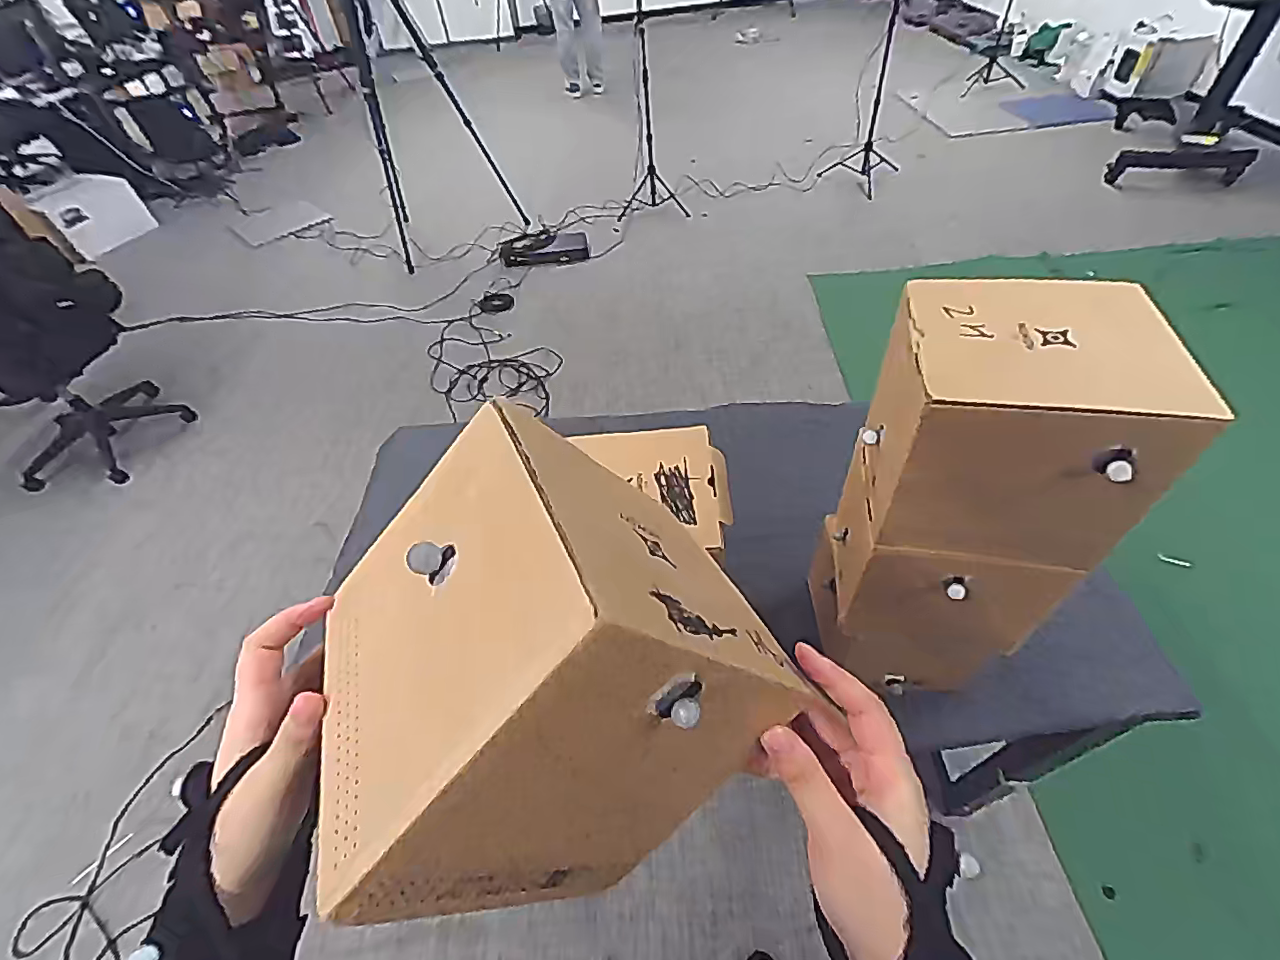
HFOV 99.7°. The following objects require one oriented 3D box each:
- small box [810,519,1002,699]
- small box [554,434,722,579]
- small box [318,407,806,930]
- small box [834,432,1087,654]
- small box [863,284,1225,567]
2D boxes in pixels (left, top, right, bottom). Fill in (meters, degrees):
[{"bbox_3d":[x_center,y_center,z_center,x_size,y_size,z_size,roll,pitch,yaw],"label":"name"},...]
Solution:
[{"bbox_3d":[0.328,0.166,0.705,0.168,0.176,0.179,-4,48,5],"label":"small box"},{"bbox_3d":[-0.005,0.067,0.611,0.179,0.176,0.168,-4,47,4],"label":"small box"},{"bbox_3d":[-0.053,0.096,0.302,0.176,0.168,0.179,-49,41,9],"label":"small box"},{"bbox_3d":[0.312,0.068,0.575,0.179,0.176,0.168,4,48,13],"label":"small box"},{"bbox_3d":[0.299,-0.045,0.455,0.179,0.176,0.168,5,48,14],"label":"small box"}]
